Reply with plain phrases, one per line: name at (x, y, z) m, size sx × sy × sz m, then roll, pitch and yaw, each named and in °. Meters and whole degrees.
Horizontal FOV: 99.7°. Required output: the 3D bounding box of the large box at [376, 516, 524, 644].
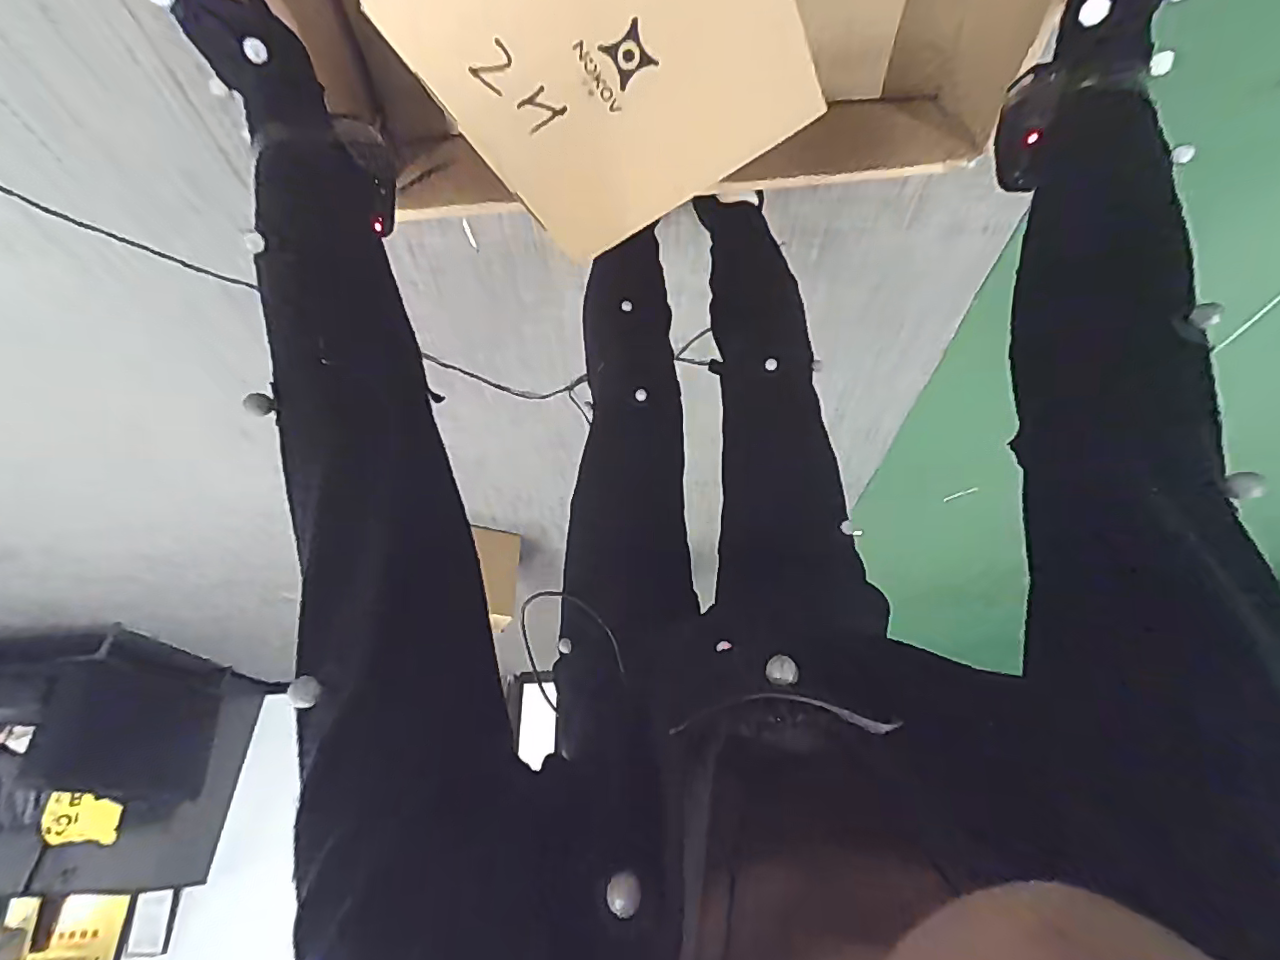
large box at (-0.657, 0.361, 1.896) m, size 0.408 × 0.320 × 0.320 m, roll 16°, pitch 142°, yaw -23°

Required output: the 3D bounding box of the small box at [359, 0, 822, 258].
small box at (-0.021, -0.277, 0.311) m, size 0.179 × 0.176 × 0.168 m, roll -21°, pitch 142°, yaw 24°
